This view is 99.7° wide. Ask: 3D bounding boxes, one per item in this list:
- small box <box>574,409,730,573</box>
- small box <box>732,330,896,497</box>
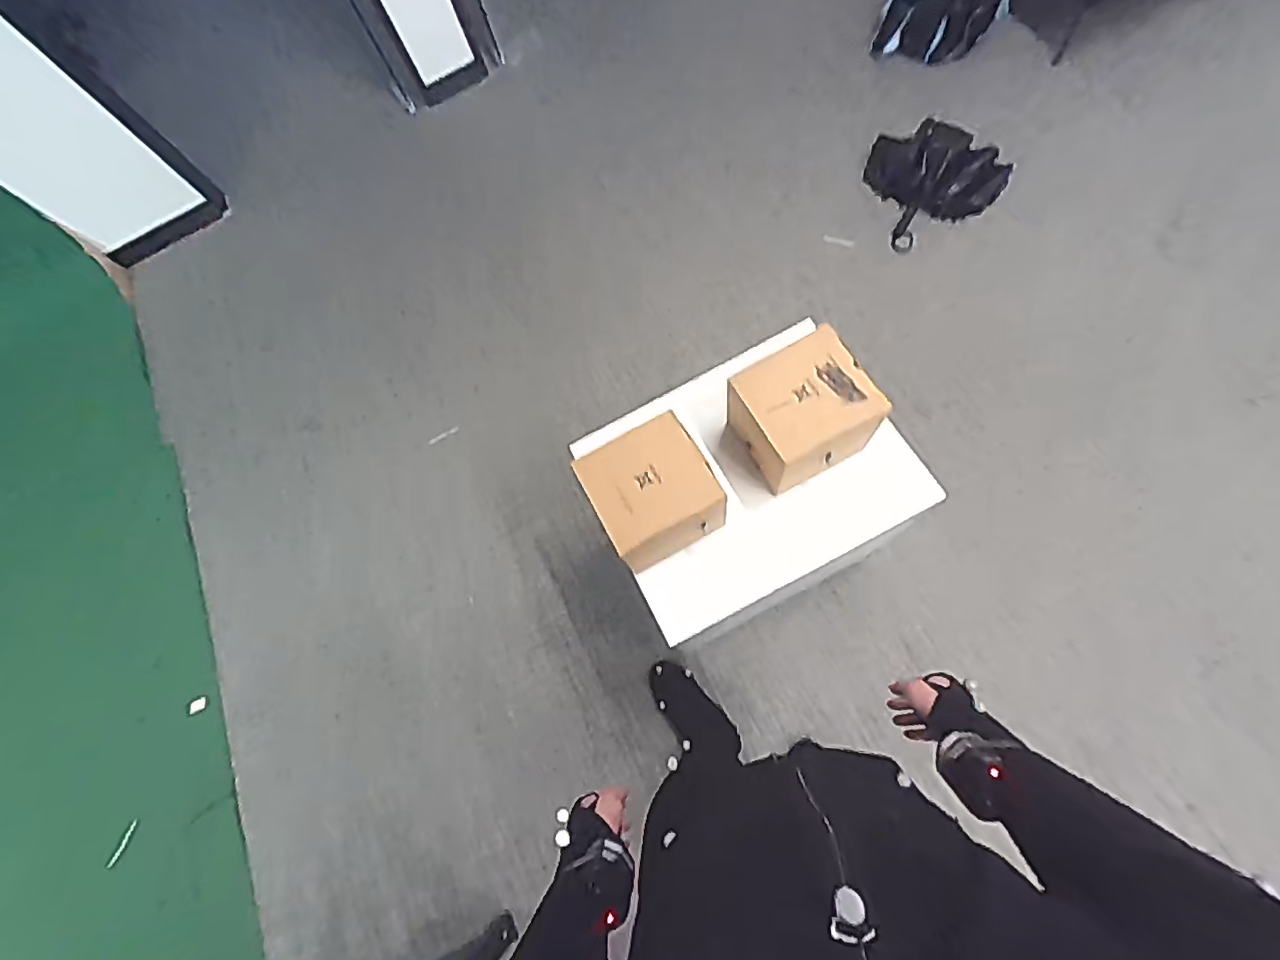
[{"bbox_3d":[0.022,0.025,0.842,0.179,0.176,0.168,-28,68,-4],"label":"small box"},{"bbox_3d":[0.258,-0.096,0.855,0.179,0.176,0.168,-27,69,-2],"label":"small box"}]
